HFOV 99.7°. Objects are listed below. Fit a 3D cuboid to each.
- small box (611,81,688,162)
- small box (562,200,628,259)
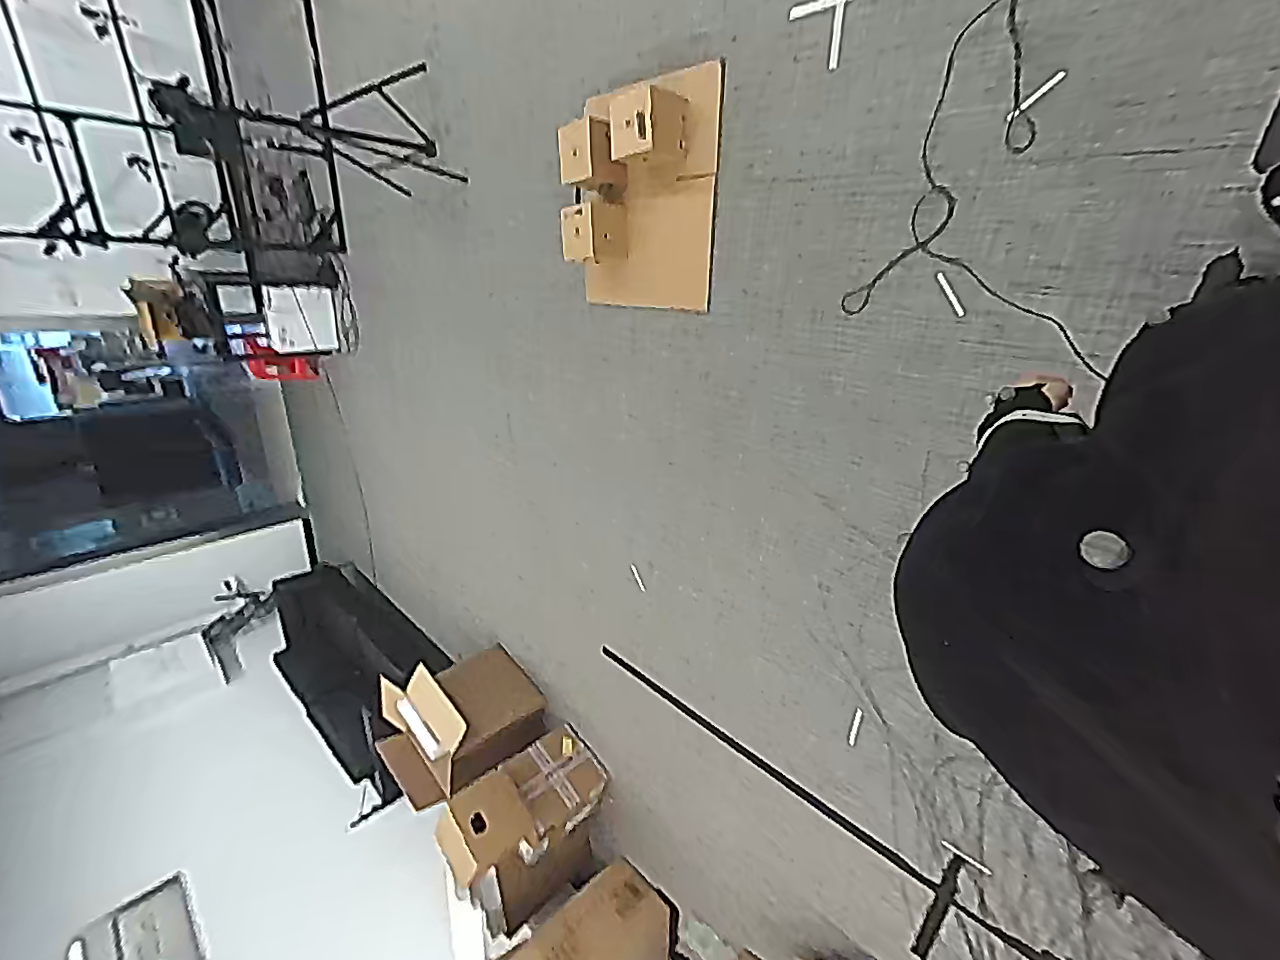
[{"bbox_3d":[0.032,-1.091,1.658,0.179,0.176,0.168,16,116,42],"label":"small box"},{"bbox_3d":[-0.156,-0.886,1.922,0.168,0.176,0.179,15,116,41],"label":"small box"}]
